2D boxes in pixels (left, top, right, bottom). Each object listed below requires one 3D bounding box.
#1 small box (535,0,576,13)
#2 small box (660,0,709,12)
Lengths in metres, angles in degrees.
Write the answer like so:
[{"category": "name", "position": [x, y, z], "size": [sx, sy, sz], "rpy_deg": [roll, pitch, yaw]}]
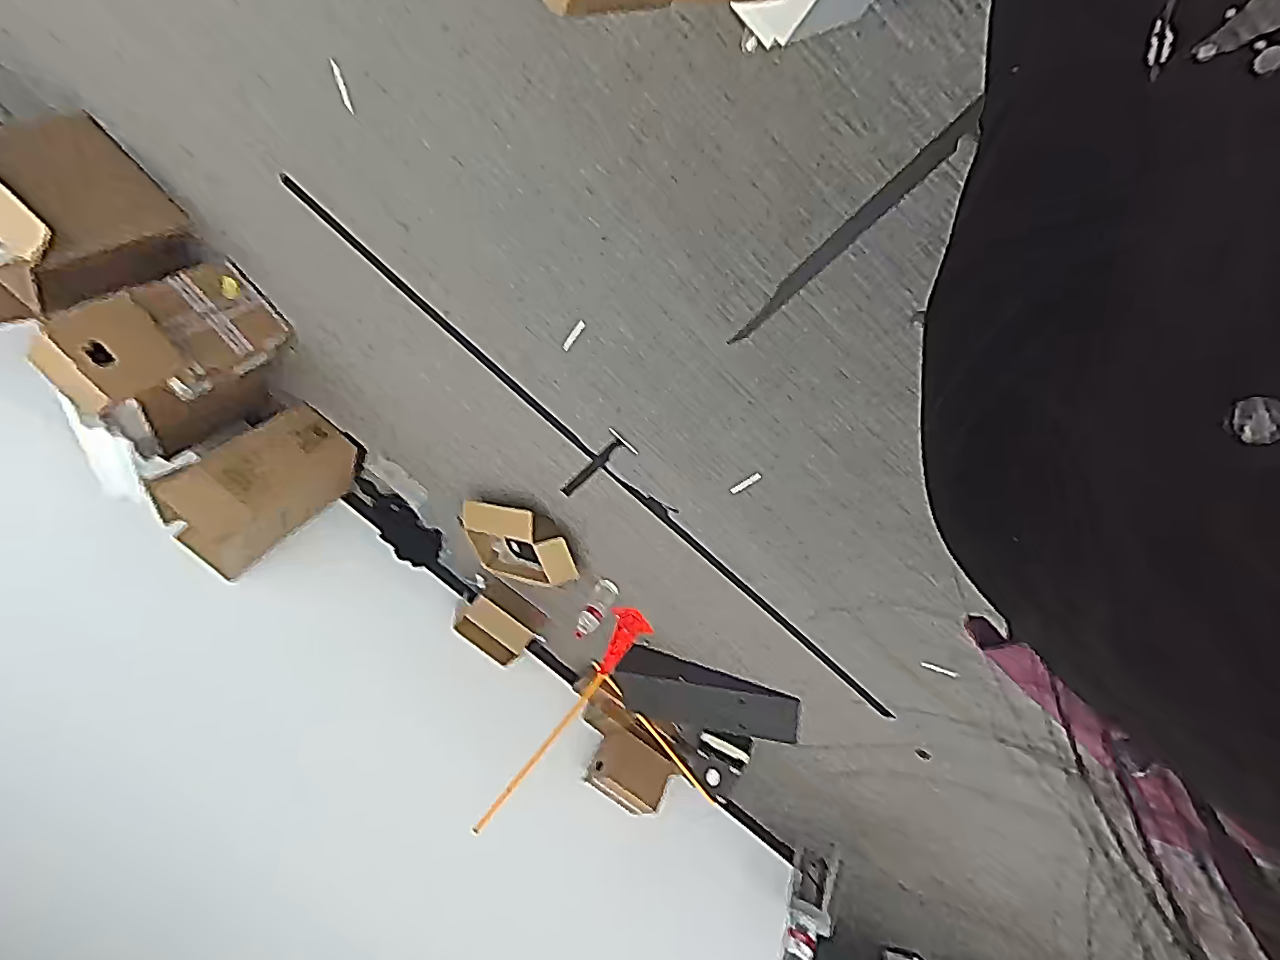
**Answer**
[{"category": "small box", "position": [-0.033, -0.405, 0.292], "size": [0.179, 0.176, 0.168], "rpy_deg": [41, 140, -7]}, {"category": "small box", "position": [0.040, -0.503, 0.399], "size": [0.179, 0.176, 0.168], "rpy_deg": [42, 139, -7]}]
